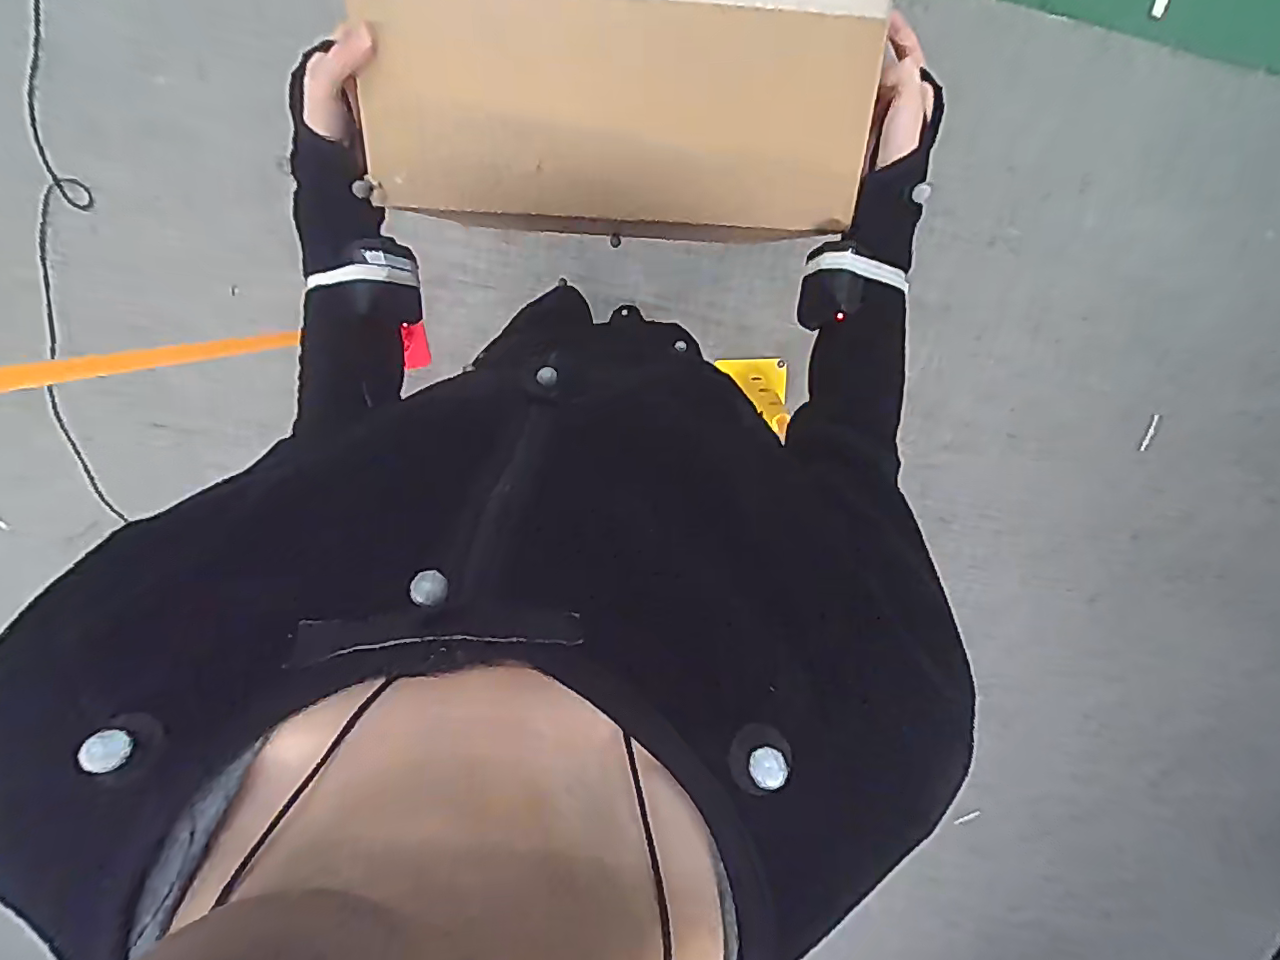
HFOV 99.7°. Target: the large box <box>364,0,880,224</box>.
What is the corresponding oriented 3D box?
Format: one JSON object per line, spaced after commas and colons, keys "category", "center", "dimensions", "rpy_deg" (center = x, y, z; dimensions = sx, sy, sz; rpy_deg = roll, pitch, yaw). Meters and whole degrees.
{"category": "large box", "center": [-0.015, -0.437, 0.546], "dimensions": [0.408, 0.320, 0.320], "rpy_deg": [2, 112, -4]}
